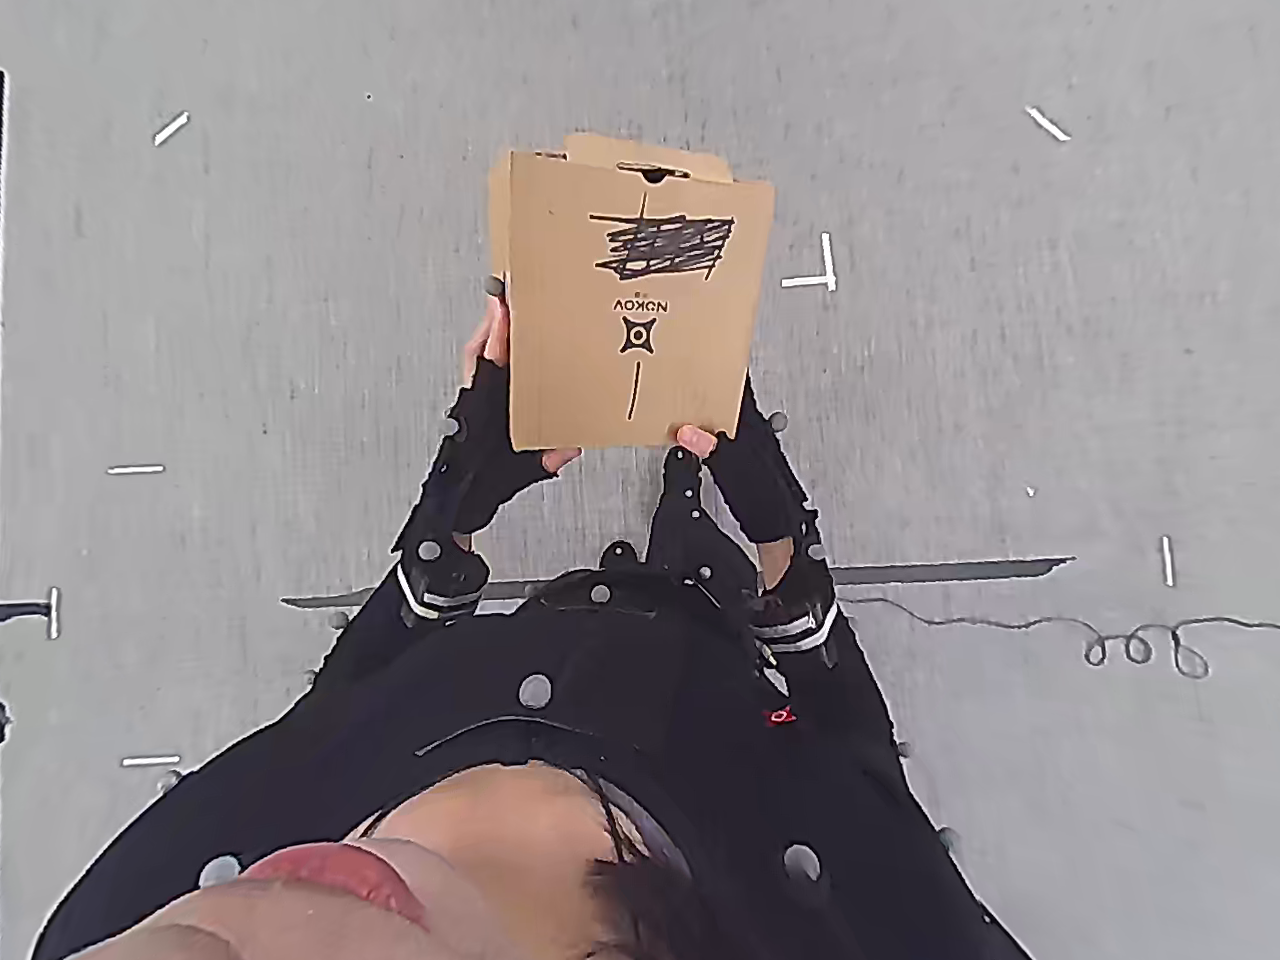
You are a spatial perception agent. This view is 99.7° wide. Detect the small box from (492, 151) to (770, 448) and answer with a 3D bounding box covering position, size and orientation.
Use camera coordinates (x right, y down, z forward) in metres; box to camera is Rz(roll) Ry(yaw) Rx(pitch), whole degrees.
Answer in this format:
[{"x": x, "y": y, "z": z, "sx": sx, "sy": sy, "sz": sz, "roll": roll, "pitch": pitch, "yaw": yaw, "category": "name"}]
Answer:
[{"x": -0.025, "y": -0.136, "z": 0.422, "sx": 0.168, "sy": 0.176, "sz": 0.179, "roll": -2, "pitch": 115, "yaw": -18, "category": "small box"}]
